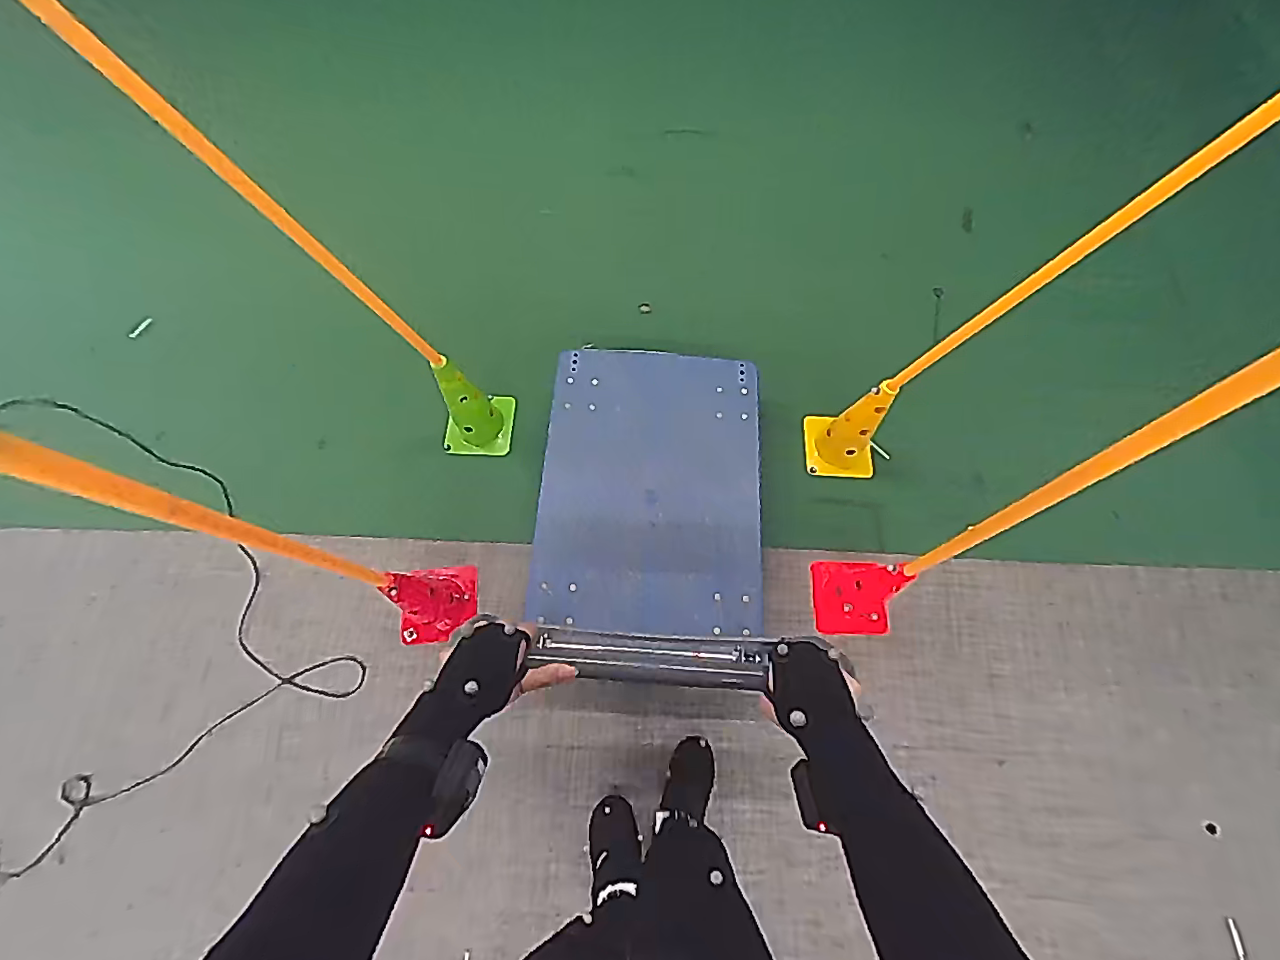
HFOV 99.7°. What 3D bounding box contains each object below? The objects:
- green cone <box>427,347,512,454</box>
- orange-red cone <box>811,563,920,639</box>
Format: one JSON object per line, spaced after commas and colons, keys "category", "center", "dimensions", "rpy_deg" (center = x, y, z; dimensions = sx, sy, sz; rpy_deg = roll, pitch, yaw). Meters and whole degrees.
{"category": "green cone", "center": [-0.496, -0.236, 1.484], "dimensions": [0.200, 0.368, 0.202], "rpy_deg": [2, 68, 1]}
{"category": "orange-red cone", "center": [0.571, 0.260, 1.308], "dimensions": [0.198, 0.360, 0.199], "rpy_deg": [3, 67, -1]}
